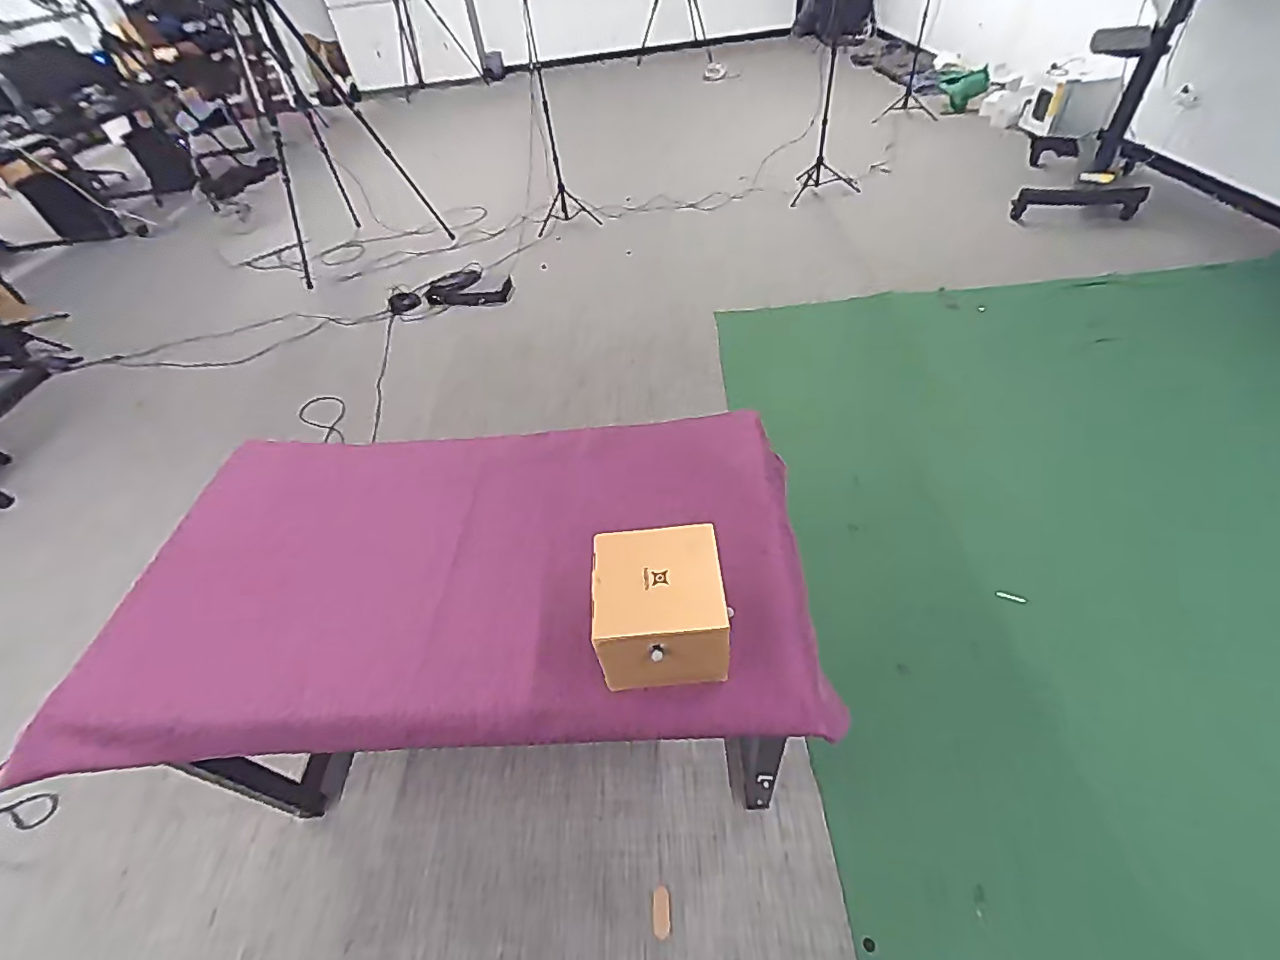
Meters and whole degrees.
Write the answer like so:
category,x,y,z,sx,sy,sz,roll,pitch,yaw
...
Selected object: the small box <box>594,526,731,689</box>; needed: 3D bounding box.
category,x,y,z,sx,sy,sz,roll,pitch,yaw
small box,0.035,0.190,0.789,0.179,0.176,0.168,-8,48,4
